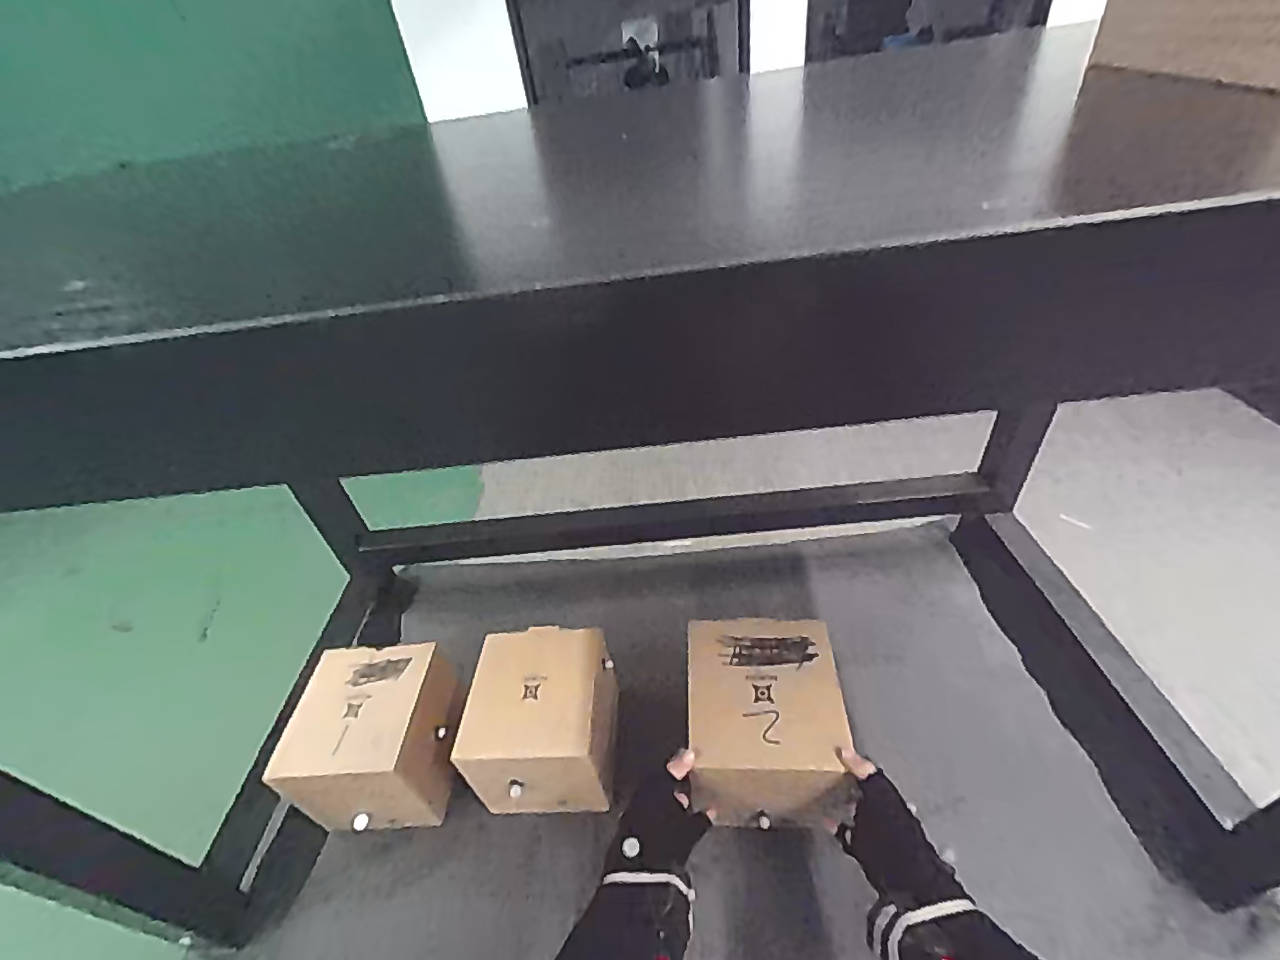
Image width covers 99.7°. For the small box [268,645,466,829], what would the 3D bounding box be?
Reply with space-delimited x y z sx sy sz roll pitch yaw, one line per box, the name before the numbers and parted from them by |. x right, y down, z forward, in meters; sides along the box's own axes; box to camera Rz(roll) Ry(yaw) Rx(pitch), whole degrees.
small box | -0.355 0.354 0.750 0.168 0.176 0.179 -5 38 4

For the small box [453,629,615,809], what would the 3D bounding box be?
small box | -0.129 0.330 0.741 0.168 0.176 0.179 -4 38 5
